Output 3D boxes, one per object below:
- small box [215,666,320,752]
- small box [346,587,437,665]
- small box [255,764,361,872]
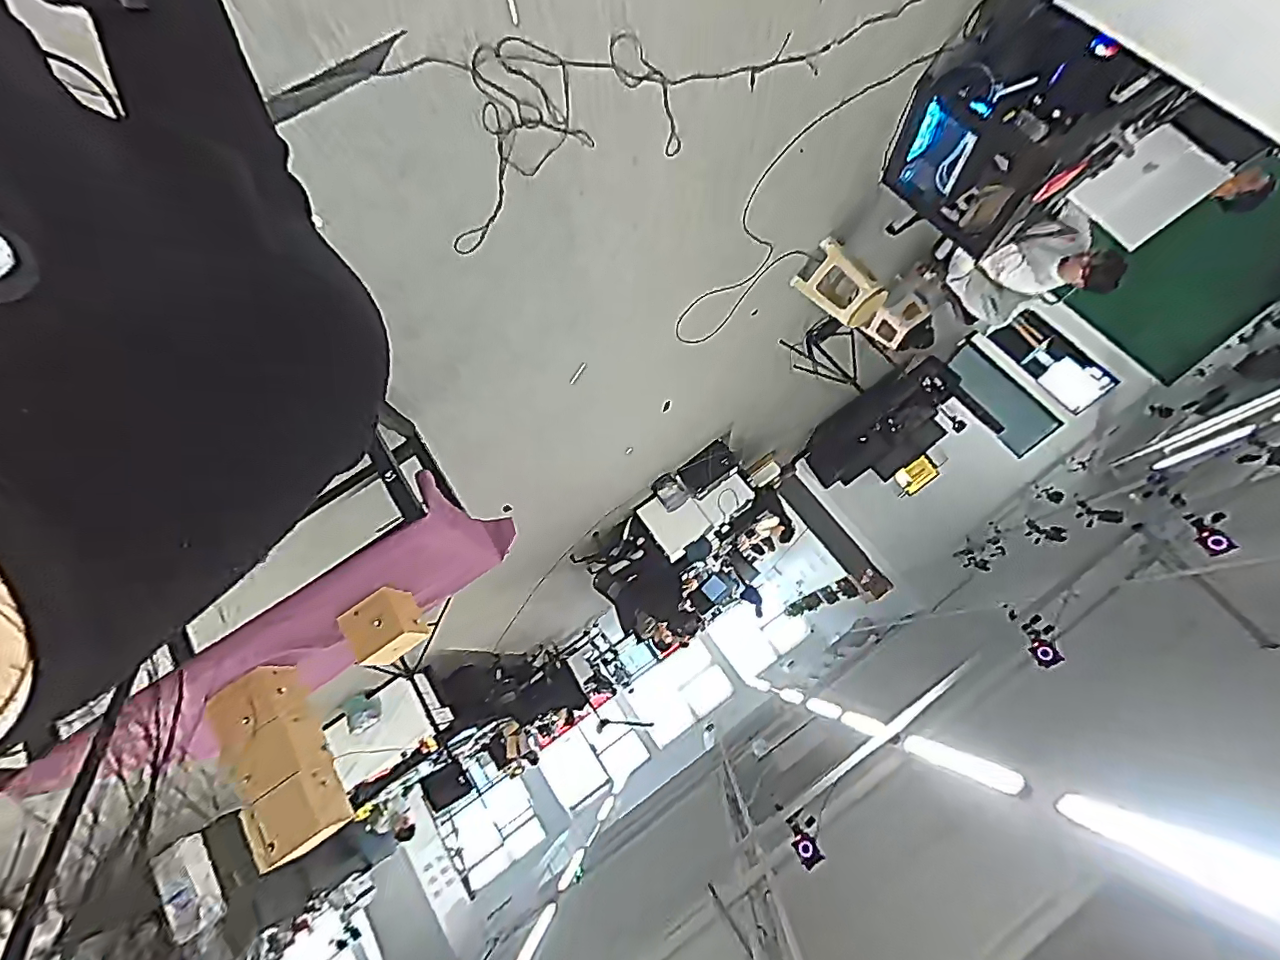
[{"bbox_3d":[-1.107,0.672,1.607,0.179,0.176,0.168,-34,161,-8],"label":"small box"},{"bbox_3d":[-0.776,0.454,1.688,0.168,0.176,0.179,-35,163,-6],"label":"small box"},{"bbox_3d":[-0.926,0.926,1.501,0.179,0.176,0.168,-35,162,-8],"label":"small box"}]
